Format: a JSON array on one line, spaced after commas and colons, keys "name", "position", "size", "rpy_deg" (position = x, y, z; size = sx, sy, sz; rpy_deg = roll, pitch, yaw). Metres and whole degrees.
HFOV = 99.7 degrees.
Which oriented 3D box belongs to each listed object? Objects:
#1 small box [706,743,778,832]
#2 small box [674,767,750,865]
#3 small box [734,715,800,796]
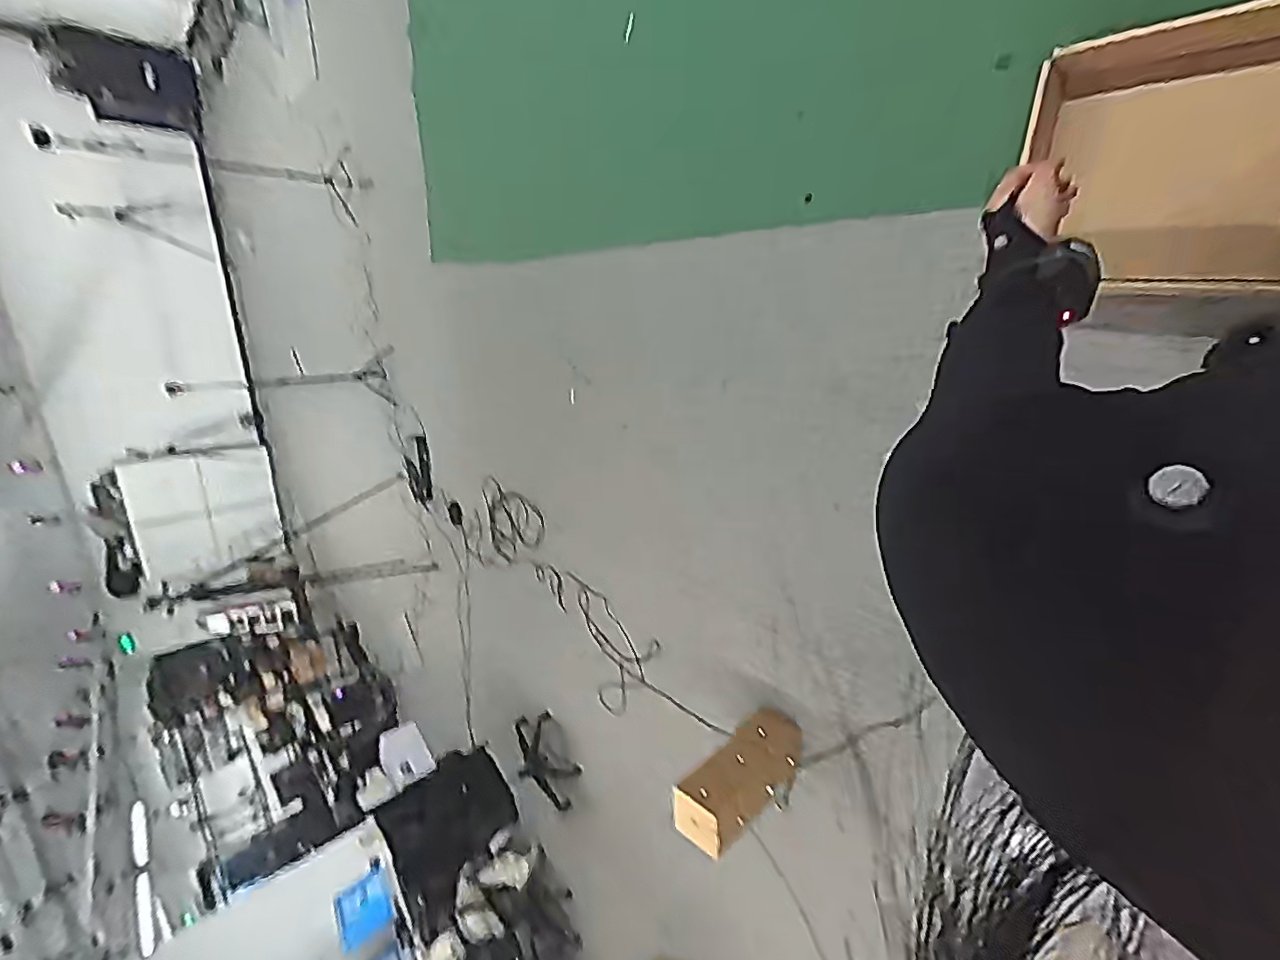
[{"name": "small box", "position": [0.344, 1.027, 1.831], "size": [0.179, 0.176, 0.168], "rpy_deg": [11, 110, 45]}, {"name": "small box", "position": [0.228, 1.054, 1.719], "size": [0.179, 0.176, 0.168], "rpy_deg": [10, 109, 45]}, {"name": "small box", "position": [0.459, 0.977, 1.937], "size": [0.179, 0.176, 0.168], "rpy_deg": [7, 106, 47]}]
